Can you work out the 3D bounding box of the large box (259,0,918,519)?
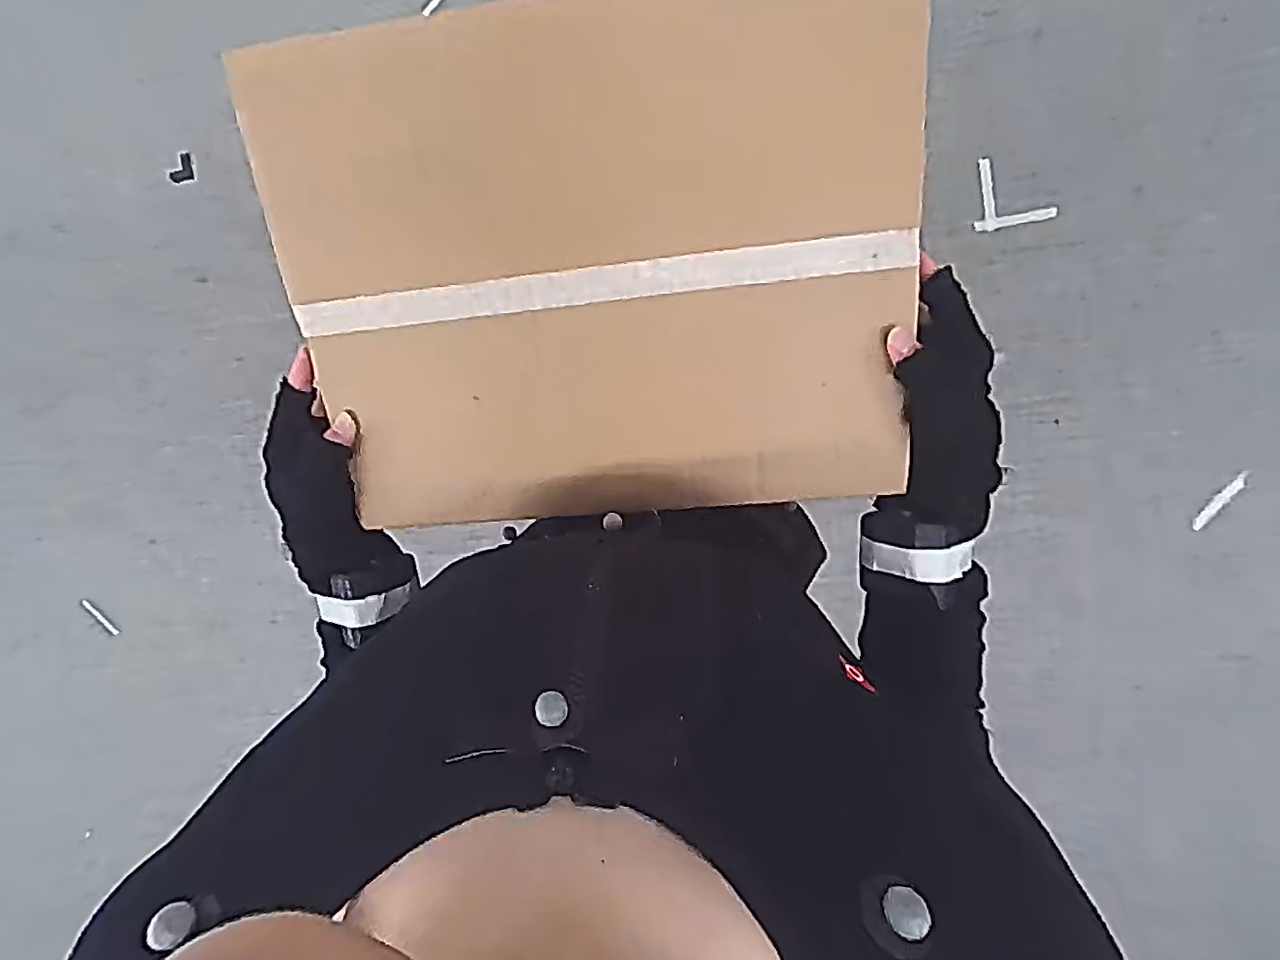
[{"bbox_3d":[-0.018,-0.176,0.500,0.408,0.320,0.320,-4,109,6],"label":"large box"}]
